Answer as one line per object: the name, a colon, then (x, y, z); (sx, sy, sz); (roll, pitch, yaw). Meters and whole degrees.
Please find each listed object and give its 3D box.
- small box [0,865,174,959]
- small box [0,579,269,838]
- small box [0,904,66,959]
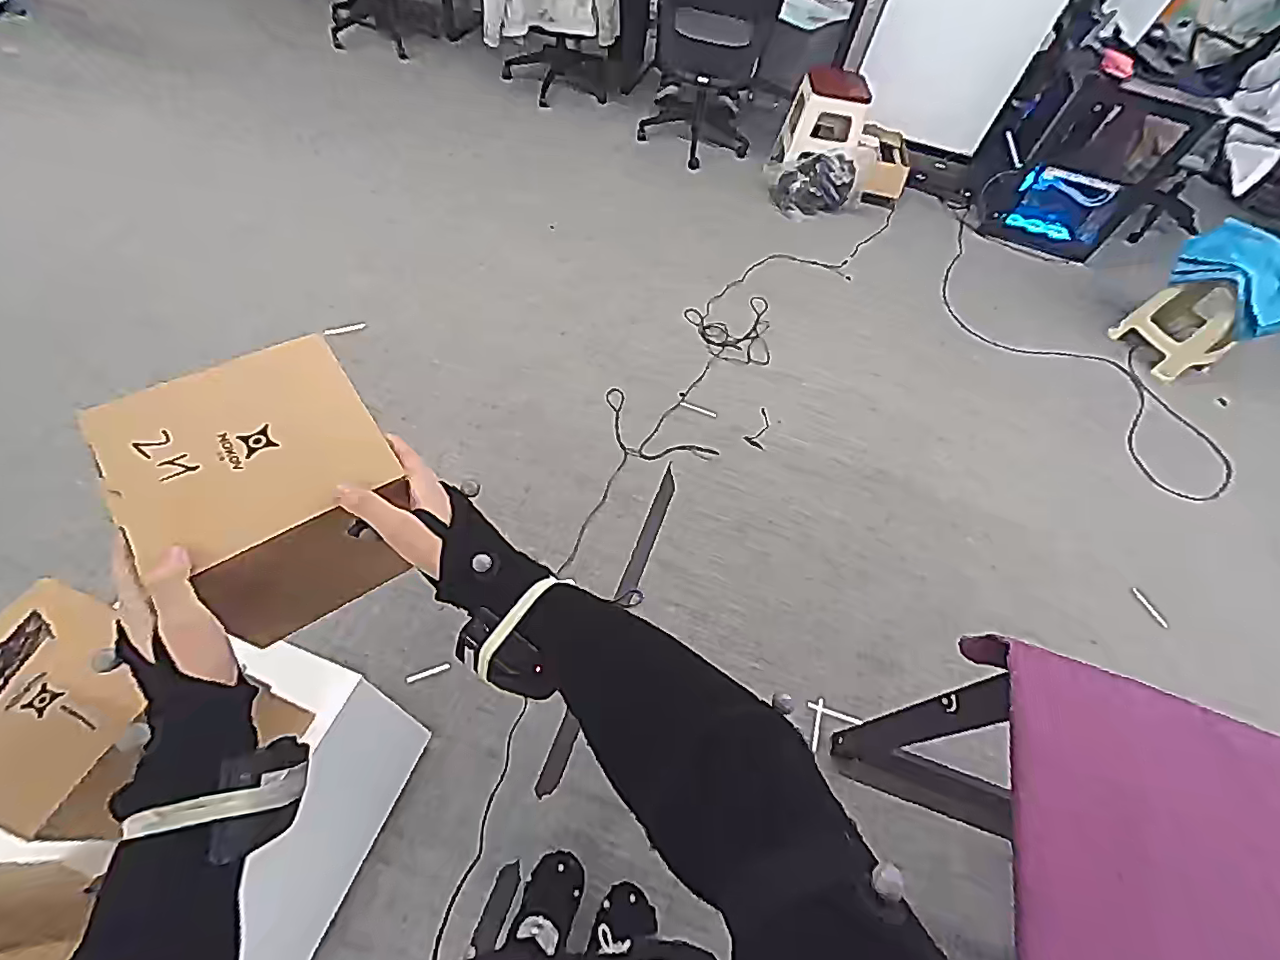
small box: (-0.640, 0.508, 0.535); (0.179, 0.176, 0.168); (20, 56, 6)
small box: (-0.527, 0.230, 0.535); (0.179, 0.176, 0.168); (22, 57, 5)
small box: (-0.618, 0.419, 0.401); (0.179, 0.176, 0.168); (19, 56, 5)
